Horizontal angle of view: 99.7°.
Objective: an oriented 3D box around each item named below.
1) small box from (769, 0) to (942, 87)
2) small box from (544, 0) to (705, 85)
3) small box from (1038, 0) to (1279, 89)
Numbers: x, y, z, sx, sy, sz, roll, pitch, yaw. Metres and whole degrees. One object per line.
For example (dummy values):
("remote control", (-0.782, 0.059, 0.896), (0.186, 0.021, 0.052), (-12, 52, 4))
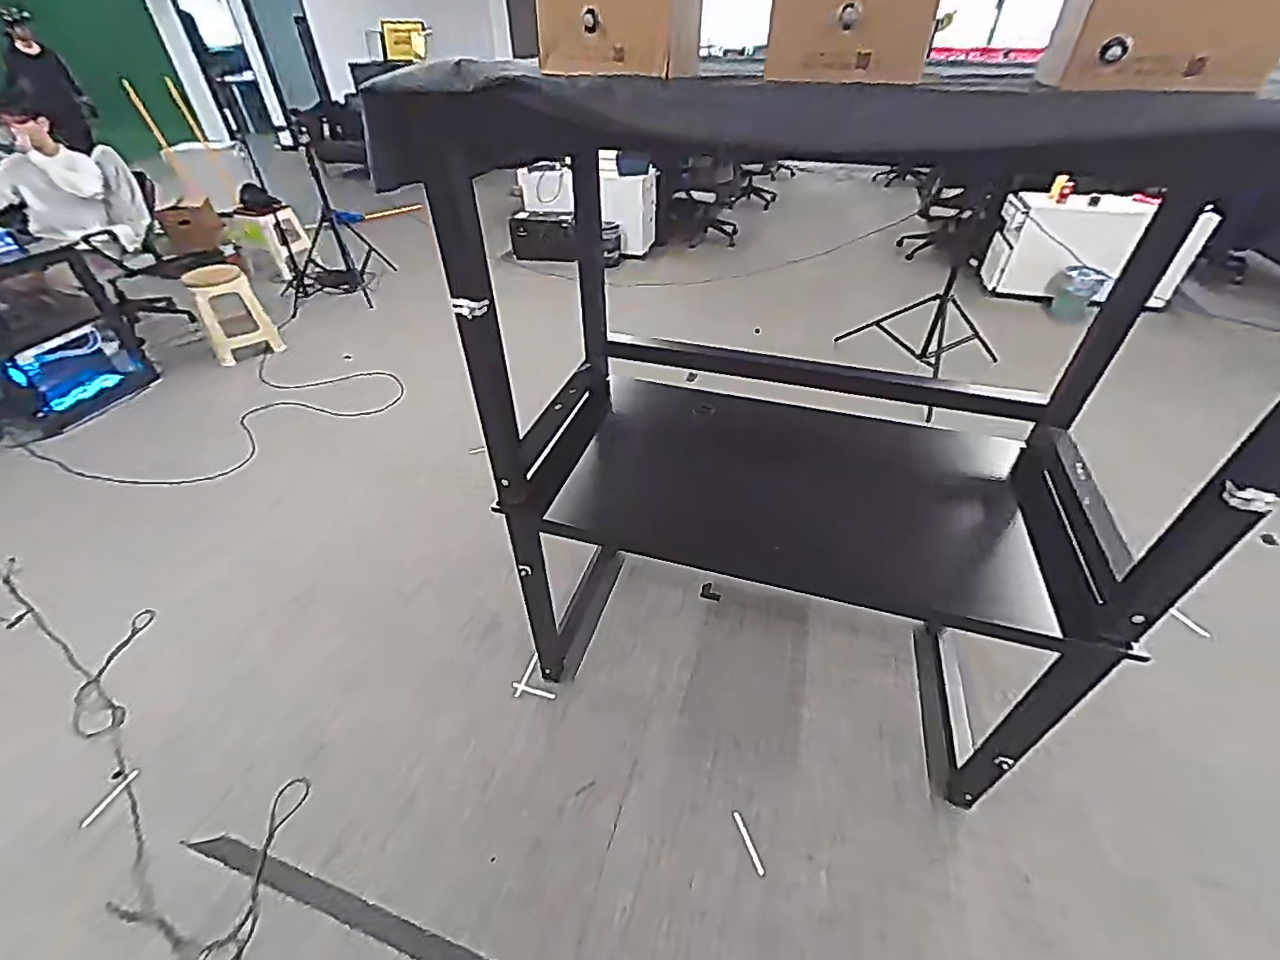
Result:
("small box", (0.245, -0.547, 0.600), (0.168, 0.176, 0.179), (12, 40, 15))
("small box", (-0.015, -0.597, 0.663), (0.168, 0.176, 0.179), (11, 40, 12))
("small box", (0.532, -0.492, 0.534), (0.168, 0.176, 0.179), (14, 40, 17))
